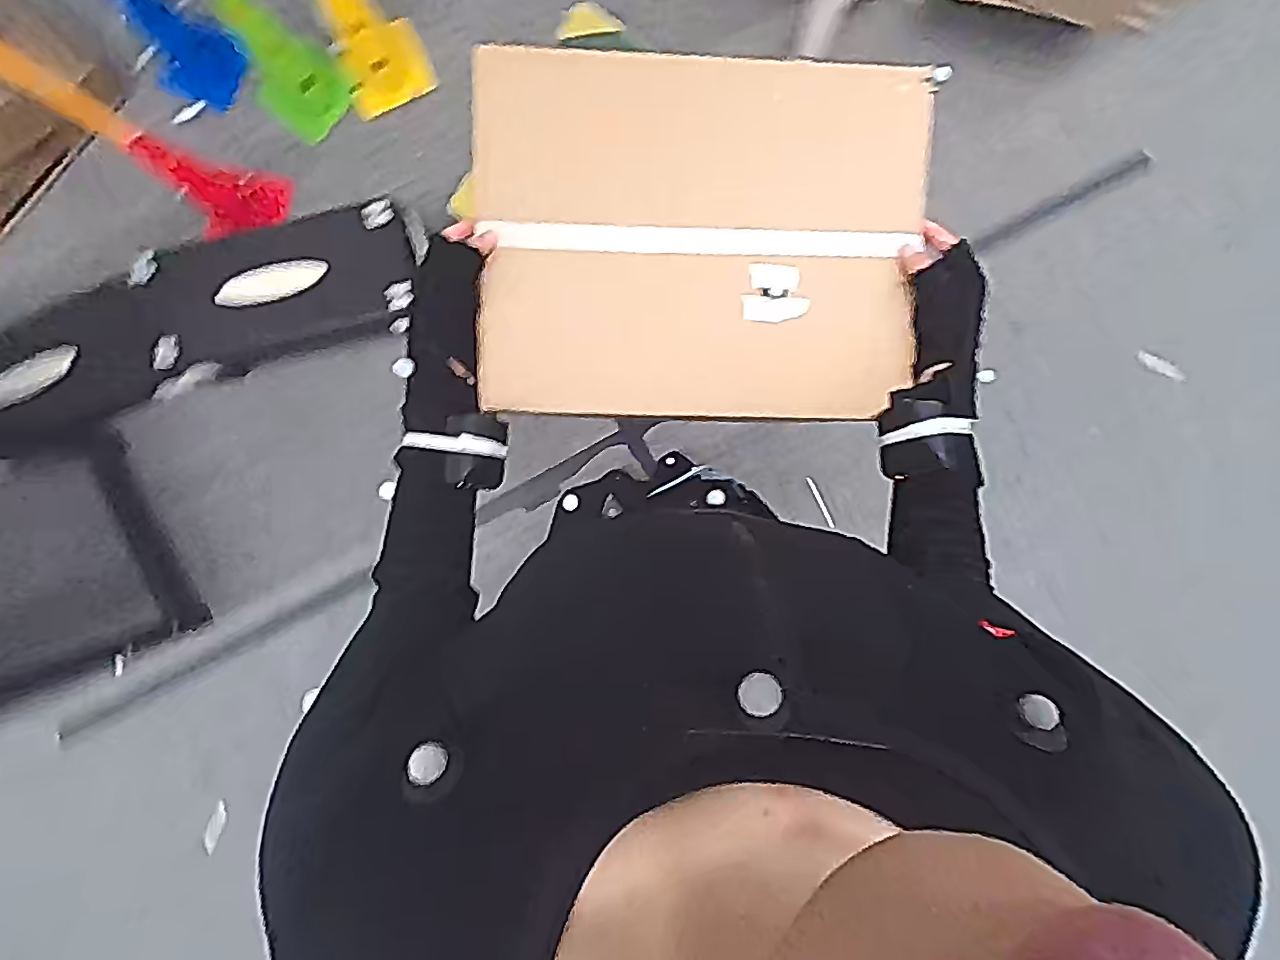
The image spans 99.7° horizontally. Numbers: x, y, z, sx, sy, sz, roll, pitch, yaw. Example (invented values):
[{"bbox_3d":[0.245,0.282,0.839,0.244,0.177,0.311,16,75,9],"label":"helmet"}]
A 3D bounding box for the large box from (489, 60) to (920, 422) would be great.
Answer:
[{"bbox_3d":[0.049,-0.230,0.652,0.408,0.320,0.320,2,96,-4],"label":"large box"}]
